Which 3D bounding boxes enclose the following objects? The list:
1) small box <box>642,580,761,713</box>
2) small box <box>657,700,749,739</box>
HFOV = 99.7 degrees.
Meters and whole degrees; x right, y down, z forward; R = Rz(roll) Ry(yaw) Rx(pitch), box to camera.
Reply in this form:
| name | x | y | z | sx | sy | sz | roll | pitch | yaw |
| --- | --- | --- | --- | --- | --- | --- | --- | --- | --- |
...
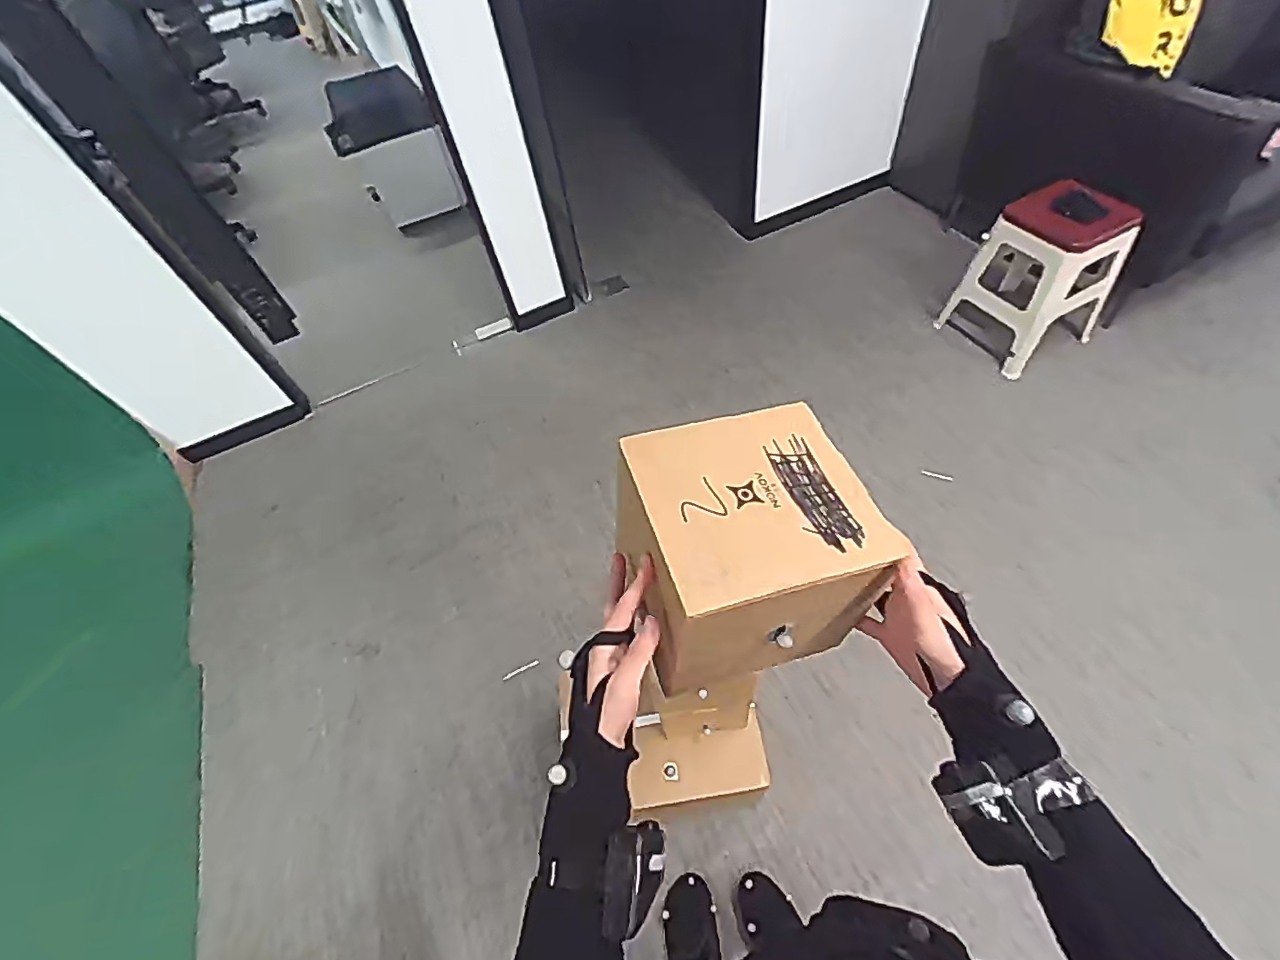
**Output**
| name | x | y | z | sx | sy | sz | roll | pitch | yaw |
| --- | --- | --- | --- | --- | --- | --- | --- | --- | --- |
| small box | 0.103 | 0.294 | 0.943 | 0.179 | 0.176 | 0.168 | -8 | 52 | 3 |
| small box | 0.114 | 0.393 | 1.071 | 0.168 | 0.176 | 0.179 | -9 | 52 | 2 |
